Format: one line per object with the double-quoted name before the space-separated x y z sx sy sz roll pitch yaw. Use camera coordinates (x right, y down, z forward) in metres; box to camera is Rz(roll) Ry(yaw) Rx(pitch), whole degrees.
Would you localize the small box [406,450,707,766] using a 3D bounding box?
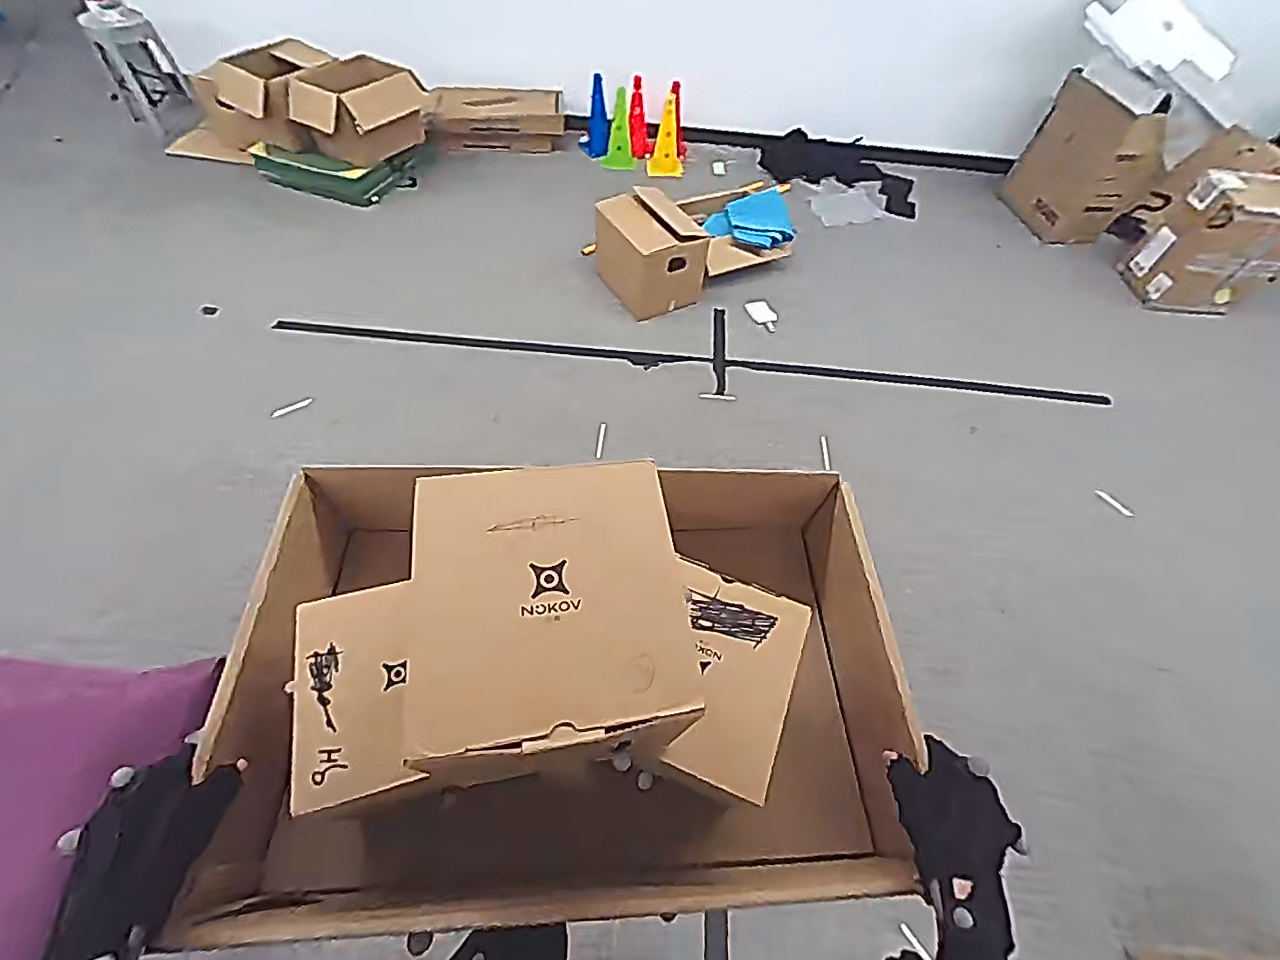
"small box" -0.061 0.101 0.399 0.168 0.176 0.179 -5 58 -11
